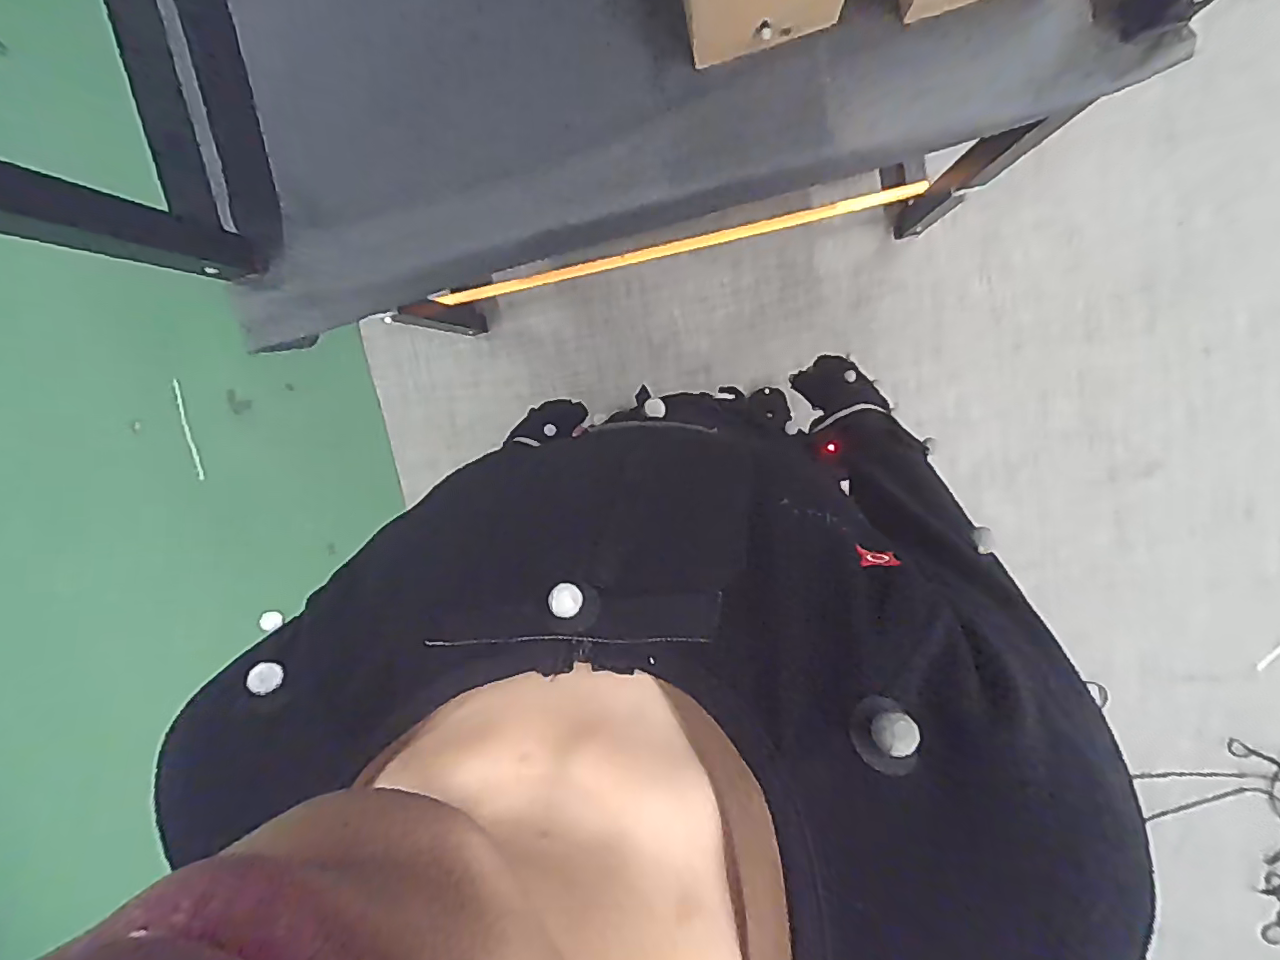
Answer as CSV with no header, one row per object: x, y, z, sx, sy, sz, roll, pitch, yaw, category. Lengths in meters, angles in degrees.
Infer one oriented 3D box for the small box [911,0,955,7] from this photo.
0.345,-0.596,0.503,0.168,0.176,0.179,-11,97,10,small box
